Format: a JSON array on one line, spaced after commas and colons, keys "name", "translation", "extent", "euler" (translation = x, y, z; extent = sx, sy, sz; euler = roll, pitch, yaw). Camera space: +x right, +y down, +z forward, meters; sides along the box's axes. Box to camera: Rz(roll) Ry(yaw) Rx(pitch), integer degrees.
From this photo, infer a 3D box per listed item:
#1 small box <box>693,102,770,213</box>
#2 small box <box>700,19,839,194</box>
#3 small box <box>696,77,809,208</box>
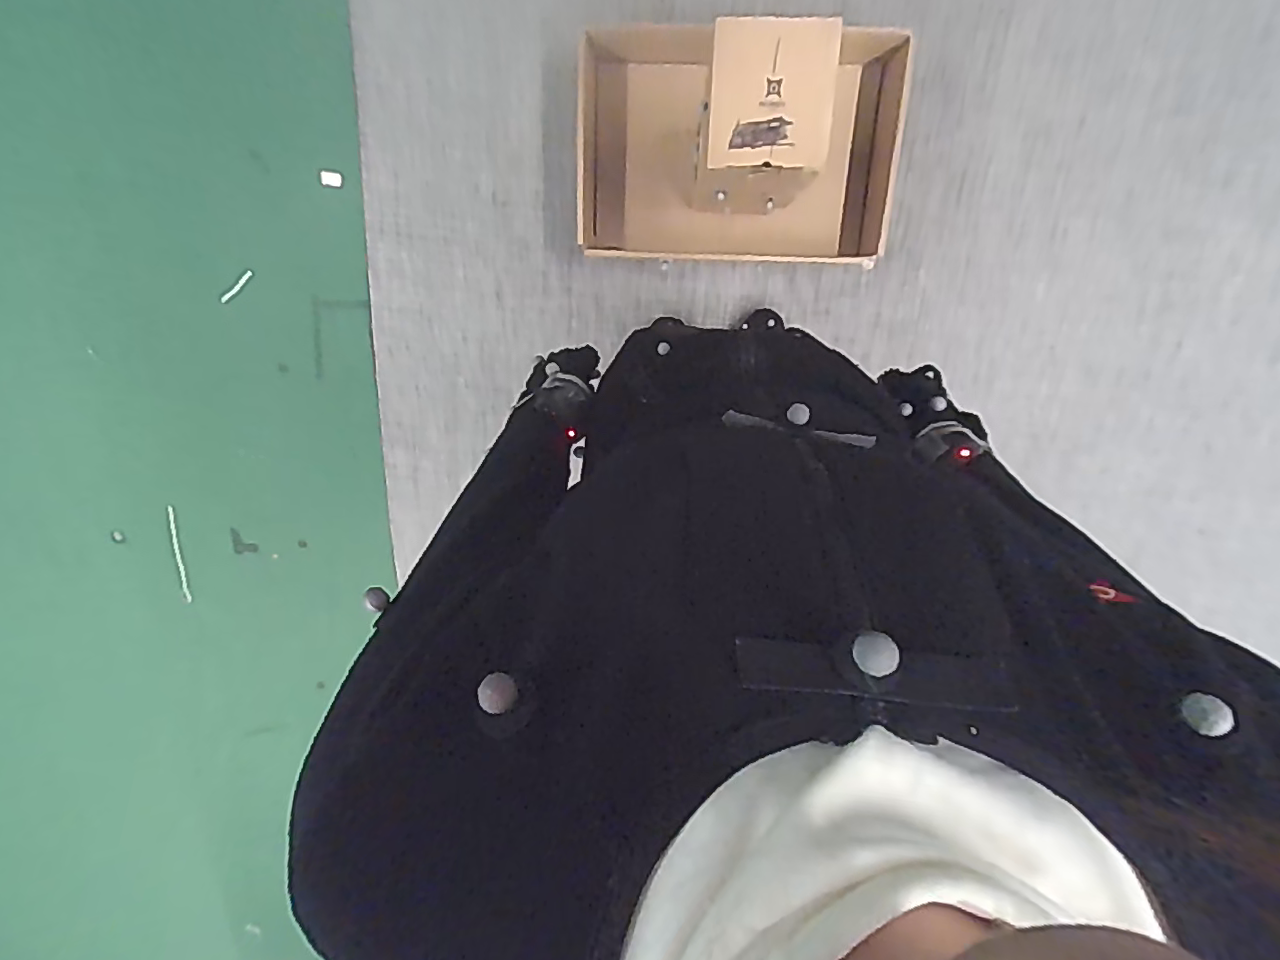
[{"name": "small box", "translation": [0.199, -0.653, 1.109], "extent": [0.179, 0.176, 0.168], "euler": [2, 107, 3]}, {"name": "small box", "translation": [0.179, -0.536, 0.801], "extent": [0.168, 0.176, 0.179], "euler": [3, 106, 3]}, {"name": "small box", "translation": [0.192, -0.580, 0.943], "extent": [0.179, 0.176, 0.168], "euler": [0, 107, 4]}]
